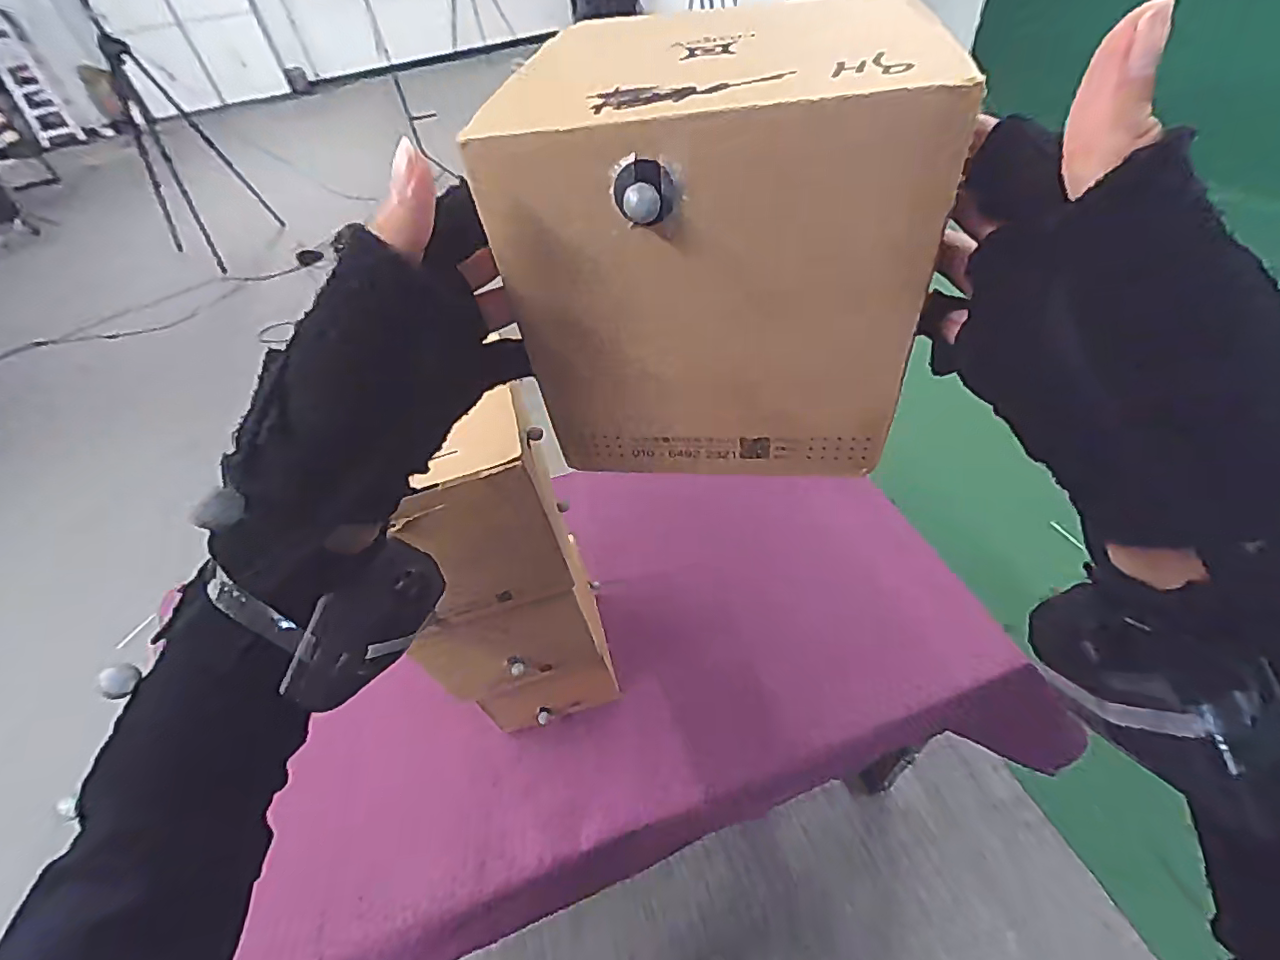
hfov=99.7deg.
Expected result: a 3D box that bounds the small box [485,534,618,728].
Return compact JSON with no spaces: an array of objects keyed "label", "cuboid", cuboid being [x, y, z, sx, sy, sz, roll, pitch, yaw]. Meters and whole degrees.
[{"label":"small box","cuboid":[-0.136,0.207,0.742,0.168,0.176,0.179,-16,48,-5]}]

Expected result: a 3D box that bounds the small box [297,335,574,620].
[{"label":"small box","cuboid":[-0.167,0.004,0.486,0.168,0.176,0.179,-17,47,-6]}]

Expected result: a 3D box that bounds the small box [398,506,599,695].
[{"label":"small box","cuboid":[-0.154,0.109,0.611,0.168,0.176,0.179,-18,48,-6]}]

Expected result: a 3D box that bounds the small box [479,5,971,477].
[{"label":"small box","cuboid":[0.044,-0.123,0.290,0.168,0.176,0.179,2,48,12]}]
